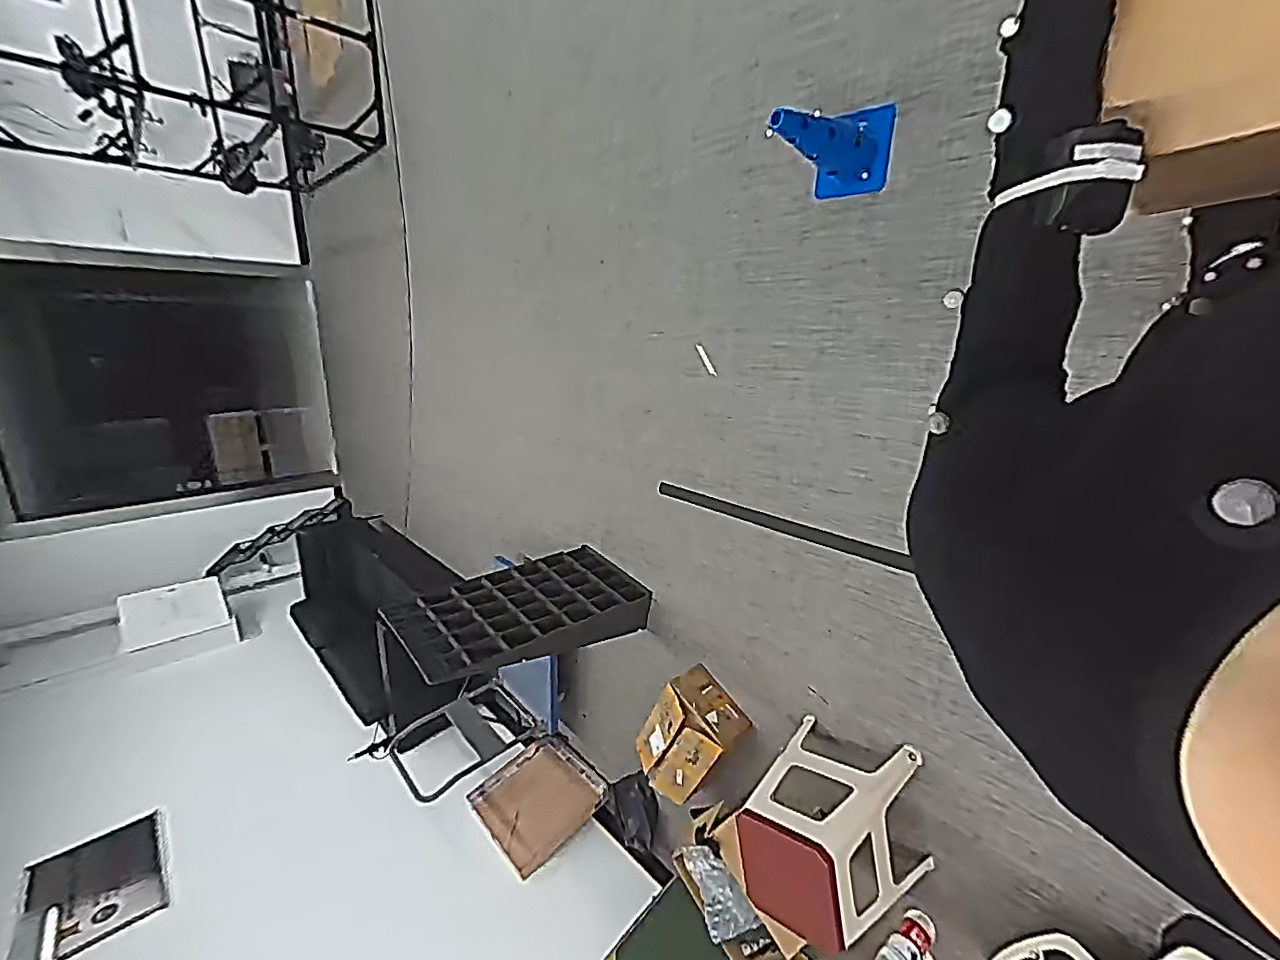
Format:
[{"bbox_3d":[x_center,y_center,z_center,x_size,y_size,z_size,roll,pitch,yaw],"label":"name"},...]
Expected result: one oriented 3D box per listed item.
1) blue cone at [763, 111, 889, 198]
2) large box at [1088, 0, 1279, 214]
[{"bbox_3d":[0.439,-0.836,1.332,0.192,0.380,0.193,22,116,45],"label":"blue cone"},{"bbox_3d":[0.570,-0.398,0.338,0.408,0.320,0.320,9,108,46],"label":"large box"}]
